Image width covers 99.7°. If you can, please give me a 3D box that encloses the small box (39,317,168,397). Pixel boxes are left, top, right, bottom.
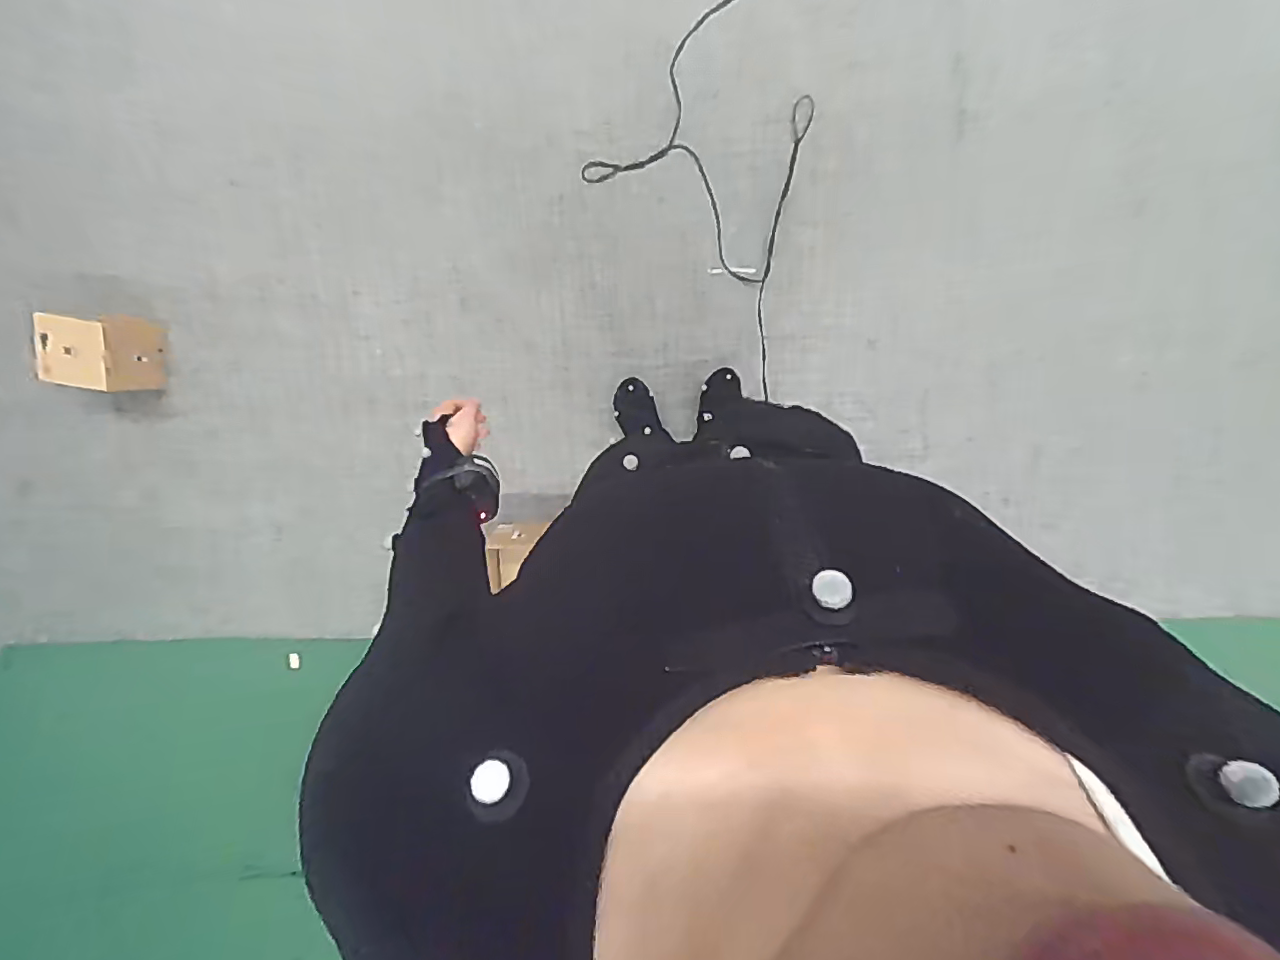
[{"bbox_3d":[-1.360,-0.313,1.385,0.179,0.176,0.168,10,102,-1],"label":"small box"}]
